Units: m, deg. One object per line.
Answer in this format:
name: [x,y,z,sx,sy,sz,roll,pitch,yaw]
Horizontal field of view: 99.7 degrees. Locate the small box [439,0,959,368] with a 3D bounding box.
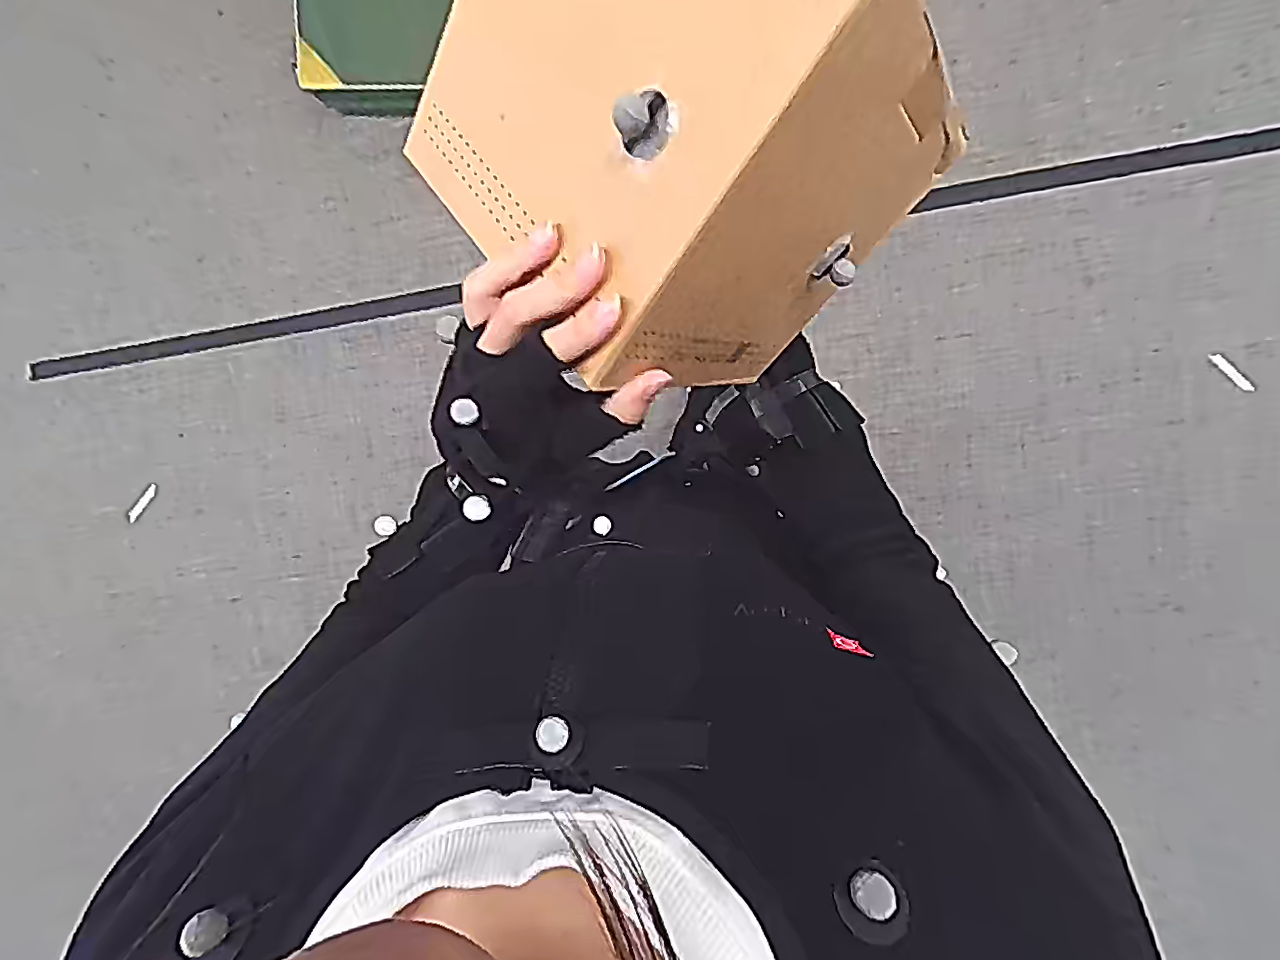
small box: [0.026,-0.176,0.290,0.179,0.168,0.176,52,124,17]
